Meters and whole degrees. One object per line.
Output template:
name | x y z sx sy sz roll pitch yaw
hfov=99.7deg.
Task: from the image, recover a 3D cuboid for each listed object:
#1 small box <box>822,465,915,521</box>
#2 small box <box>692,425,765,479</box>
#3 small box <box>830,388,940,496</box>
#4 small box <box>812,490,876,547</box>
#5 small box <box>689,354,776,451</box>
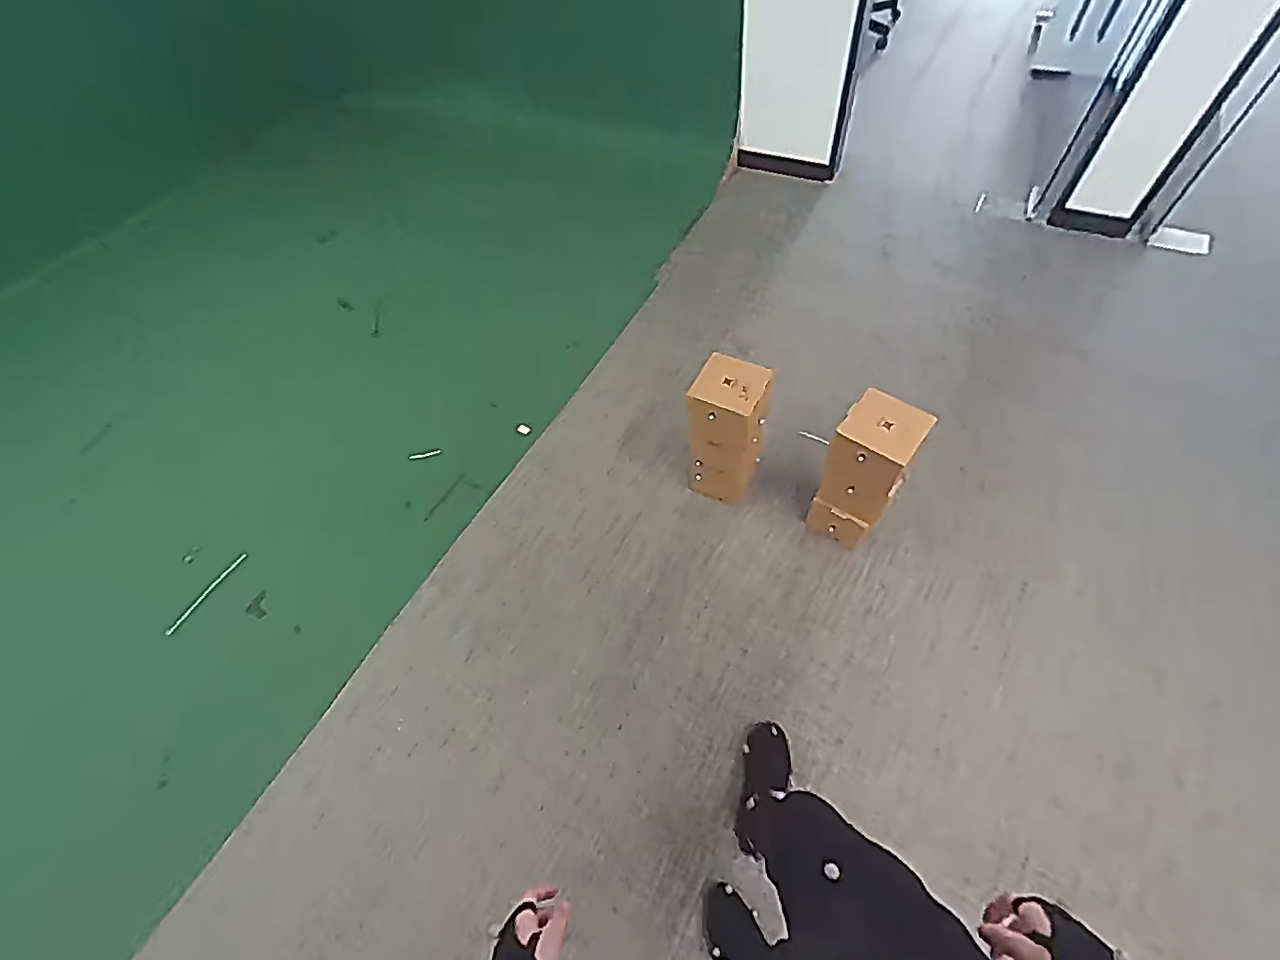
small box | 0.625 -0.011 1.482 0.179 0.176 0.168 30 67 23
small box | 0.268 -0.130 1.603 0.168 0.176 0.179 22 63 19
small box | 0.596 -0.088 1.342 0.179 0.176 0.168 34 70 24
small box | 0.633 0.074 1.621 0.168 0.176 0.179 32 69 23
small box | 0.248 -0.204 1.456 0.179 0.176 0.168 23 65 20
